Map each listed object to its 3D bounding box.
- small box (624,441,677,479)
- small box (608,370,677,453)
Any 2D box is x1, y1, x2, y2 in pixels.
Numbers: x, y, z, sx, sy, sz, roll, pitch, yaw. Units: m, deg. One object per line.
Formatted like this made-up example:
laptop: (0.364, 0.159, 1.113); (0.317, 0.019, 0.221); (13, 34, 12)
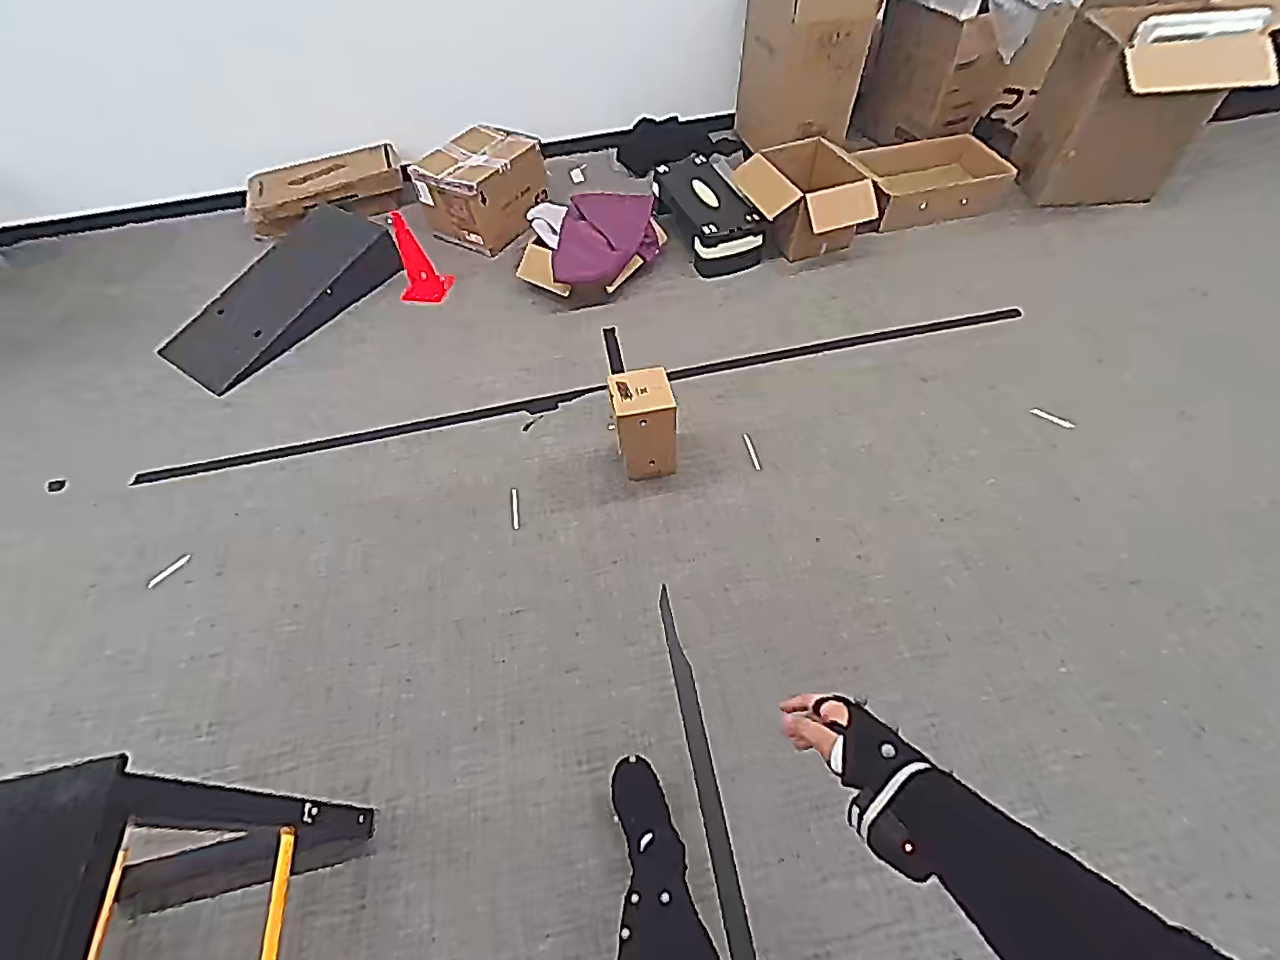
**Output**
small box: (0.028, -0.118, 1.758); (0.168, 0.176, 0.179); (-9, 56, -2)
small box: (0.011, -0.199, 1.612); (0.179, 0.176, 0.168); (-11, 55, -4)
